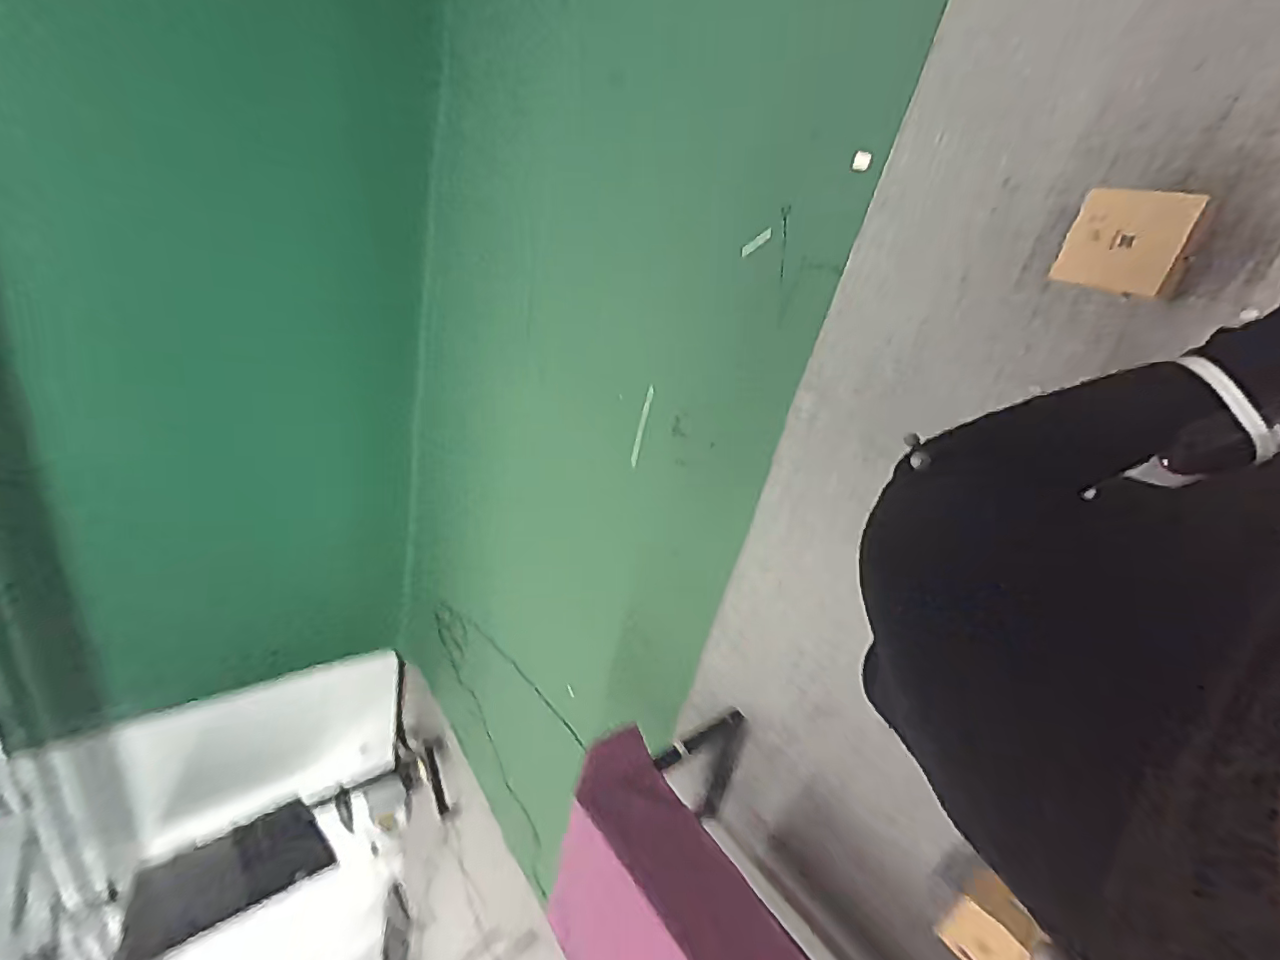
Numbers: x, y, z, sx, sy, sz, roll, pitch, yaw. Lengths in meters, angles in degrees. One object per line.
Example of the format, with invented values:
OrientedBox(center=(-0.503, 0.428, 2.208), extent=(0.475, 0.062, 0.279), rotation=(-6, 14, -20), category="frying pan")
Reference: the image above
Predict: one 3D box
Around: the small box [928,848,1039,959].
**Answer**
OrientedBox(center=(0.881, 1.095, 1.380), extent=(0.168, 0.176, 0.179), rotation=(37, 122, 39), category="small box")

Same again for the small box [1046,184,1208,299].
OrientedBox(center=(0.944, -0.457, 1.048), extent=(0.179, 0.176, 0.168), rotation=(36, 121, 40), category="small box")
